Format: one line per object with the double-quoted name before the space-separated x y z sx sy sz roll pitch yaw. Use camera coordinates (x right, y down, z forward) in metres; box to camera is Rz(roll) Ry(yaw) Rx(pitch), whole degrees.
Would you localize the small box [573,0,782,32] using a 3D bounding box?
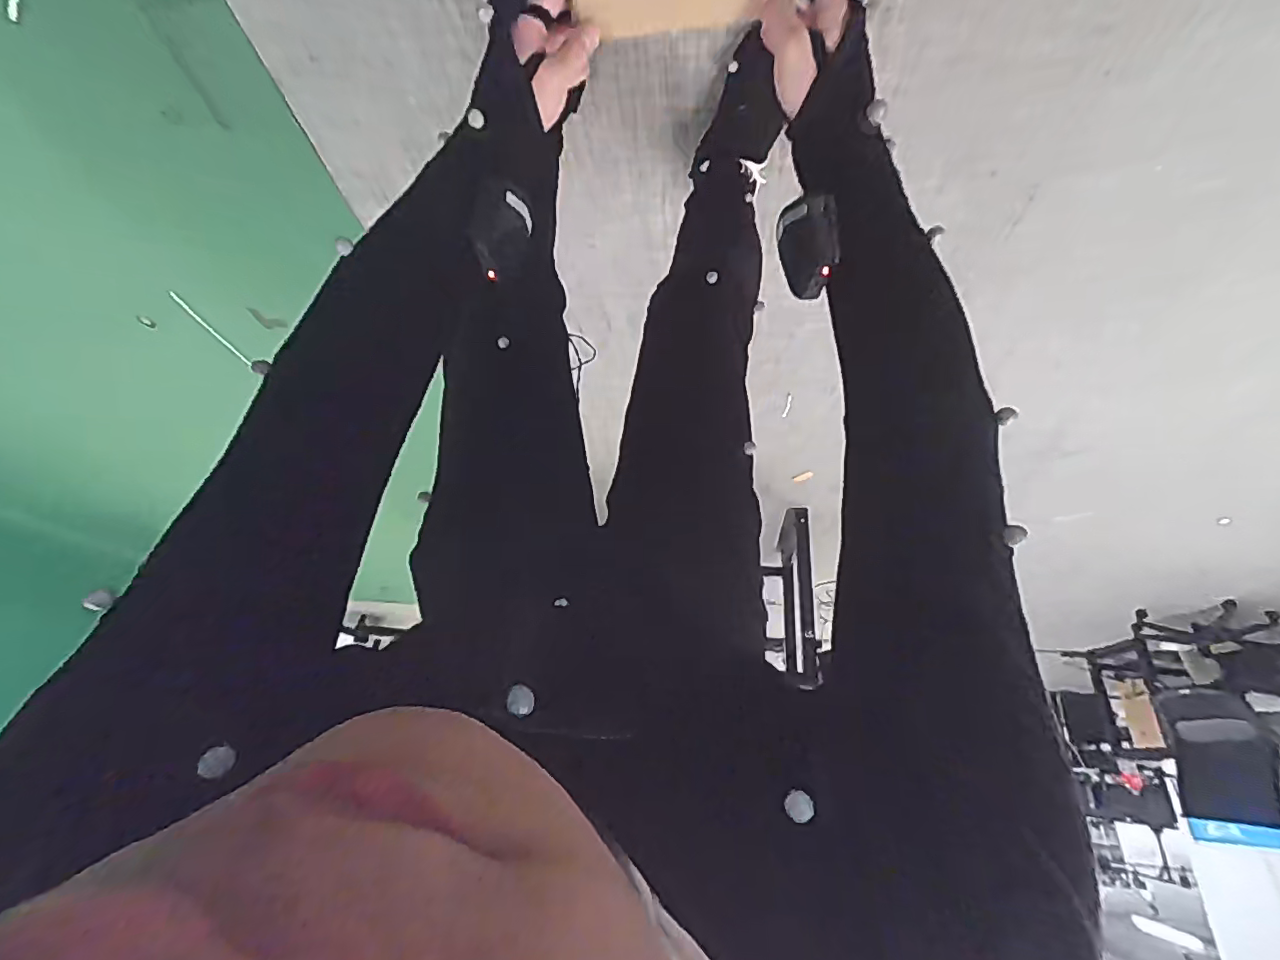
"small box" 0.033 -0.494 0.433 0.179 0.176 0.168 1 143 12
